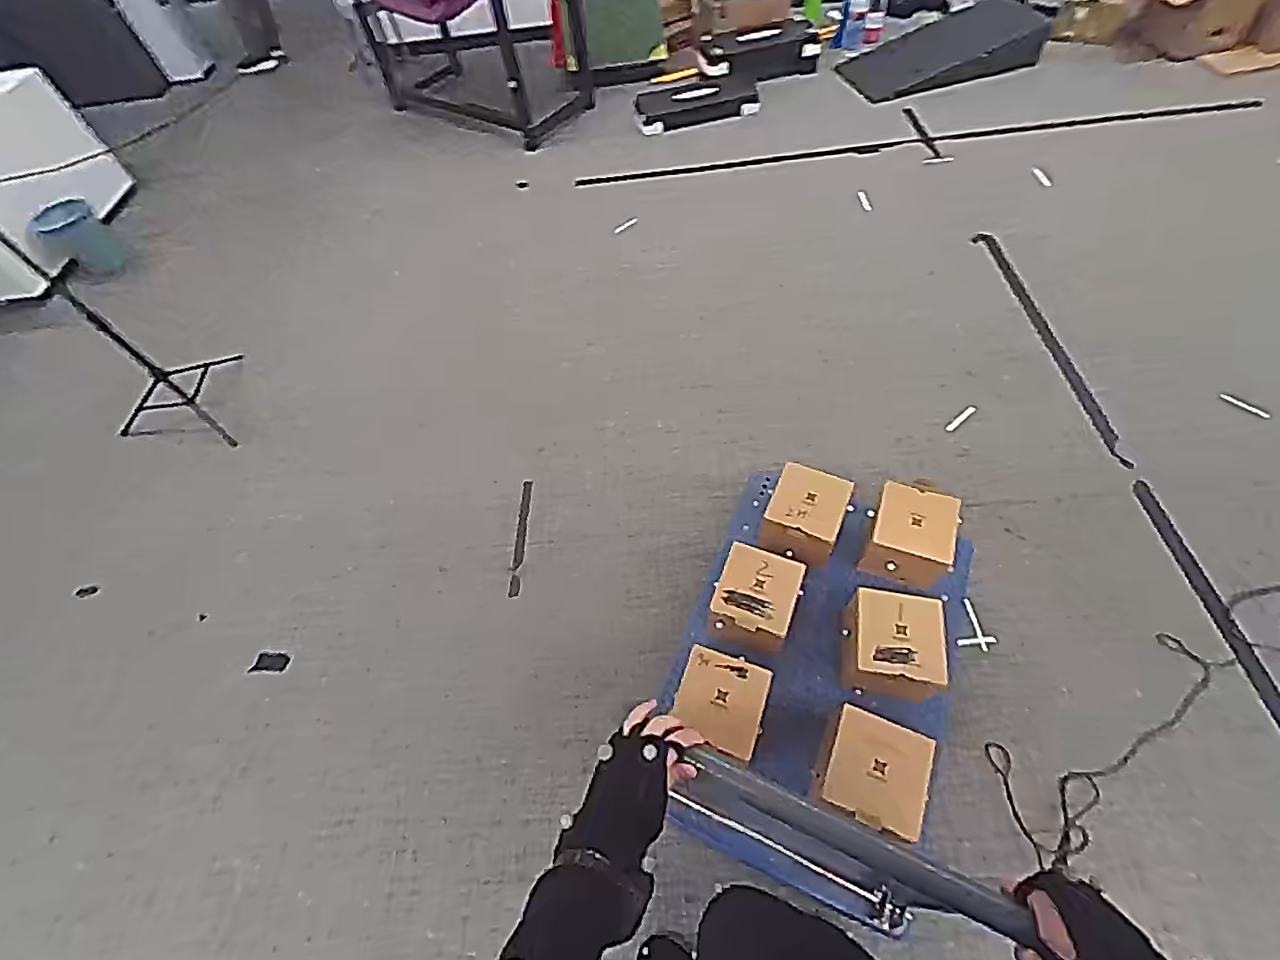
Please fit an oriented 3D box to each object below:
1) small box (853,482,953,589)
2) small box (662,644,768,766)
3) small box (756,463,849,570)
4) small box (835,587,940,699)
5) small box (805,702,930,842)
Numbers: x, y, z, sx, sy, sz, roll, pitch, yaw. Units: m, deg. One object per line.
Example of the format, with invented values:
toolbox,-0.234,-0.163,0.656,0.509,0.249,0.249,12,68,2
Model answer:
small box,0.622,0.137,1.291,0.168,0.176,0.179,16,60,16
small box,0.156,0.471,1.122,0.168,0.176,0.179,16,61,15
small box,0.396,0.092,1.340,0.168,0.176,0.179,21,63,18
small box,0.523,0.355,1.160,0.168,0.176,0.179,8,58,11
small box,0.428,0.561,1.038,0.168,0.176,0.179,20,61,17
